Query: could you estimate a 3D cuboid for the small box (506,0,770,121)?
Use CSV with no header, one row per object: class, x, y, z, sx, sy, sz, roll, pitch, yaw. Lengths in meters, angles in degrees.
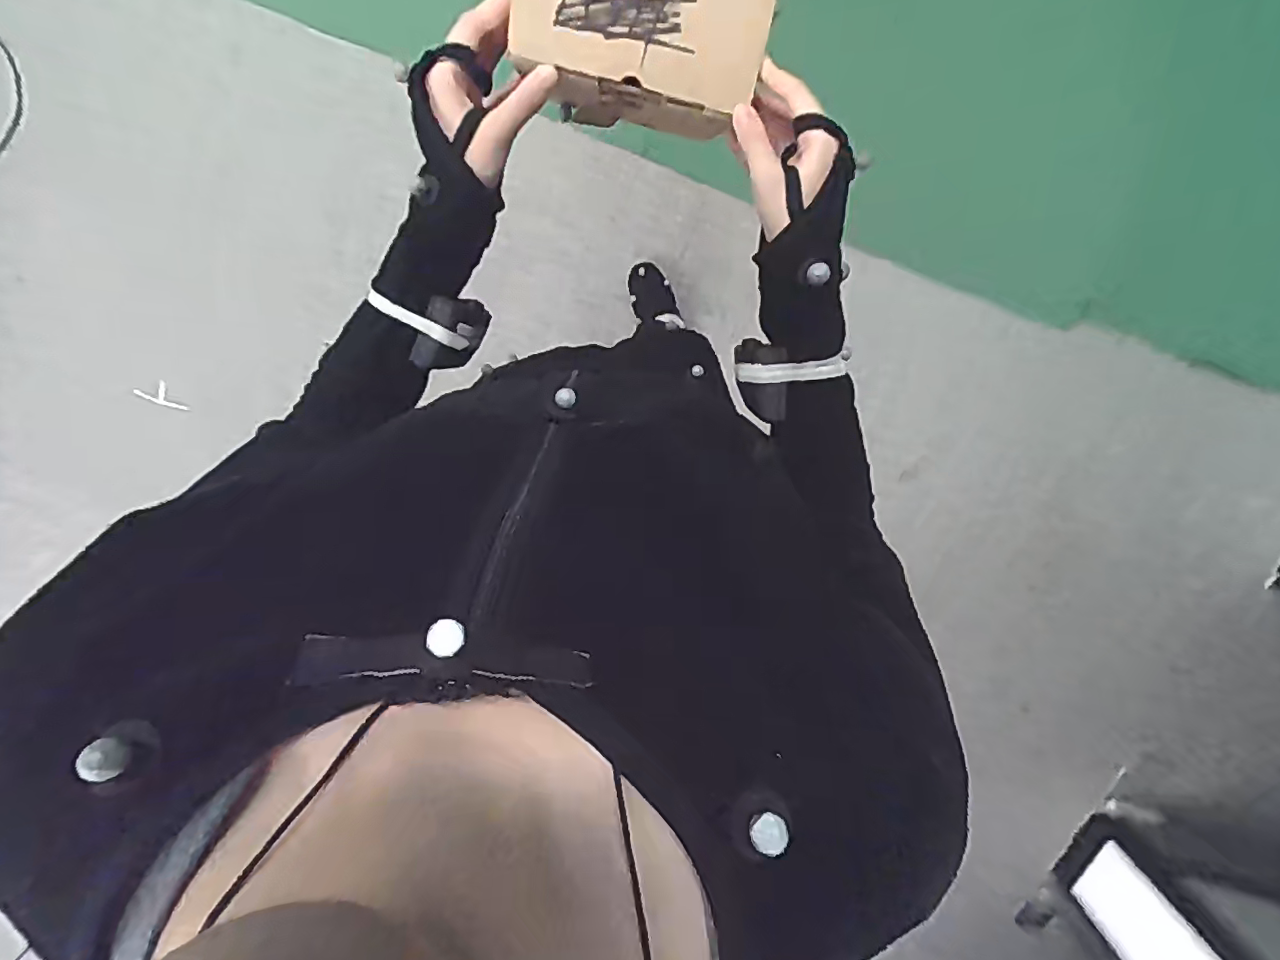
small box,0.006,-0.381,0.389,0.168,0.176,0.179,8,117,-8
